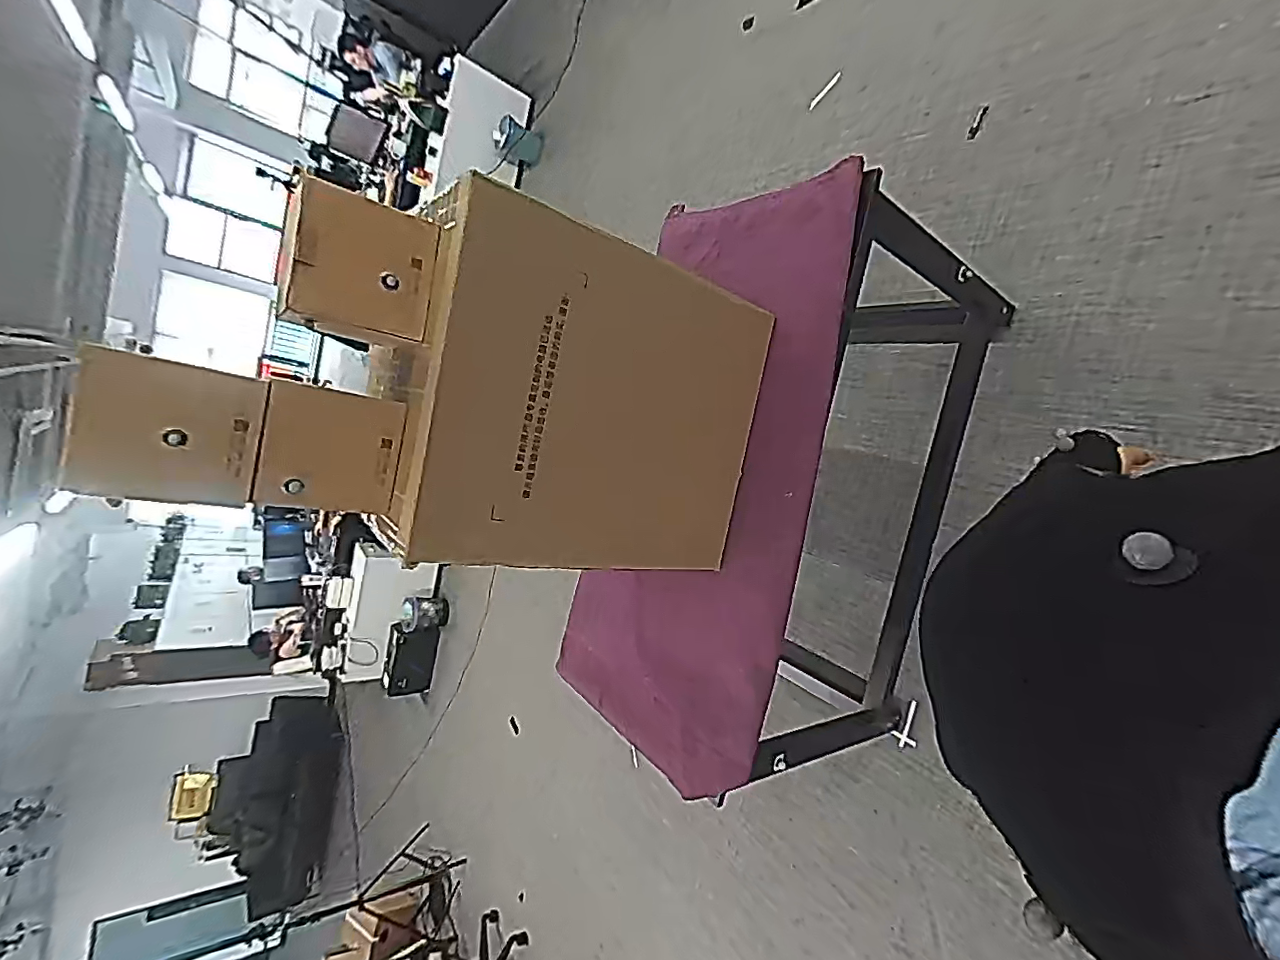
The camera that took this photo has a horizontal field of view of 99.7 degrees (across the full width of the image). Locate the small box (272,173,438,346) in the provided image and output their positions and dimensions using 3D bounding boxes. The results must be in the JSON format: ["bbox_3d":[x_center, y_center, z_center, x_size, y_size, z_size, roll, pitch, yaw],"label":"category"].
[{"bbox_3d":[-0.406,-0.294,0.769,0.179,0.176,0.168,13,95,51],"label":"small box"}]

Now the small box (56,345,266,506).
[{"bbox_3d":[-0.590,-0.064,0.686,0.179,0.176,0.168,11,90,52],"label":"small box"}]
